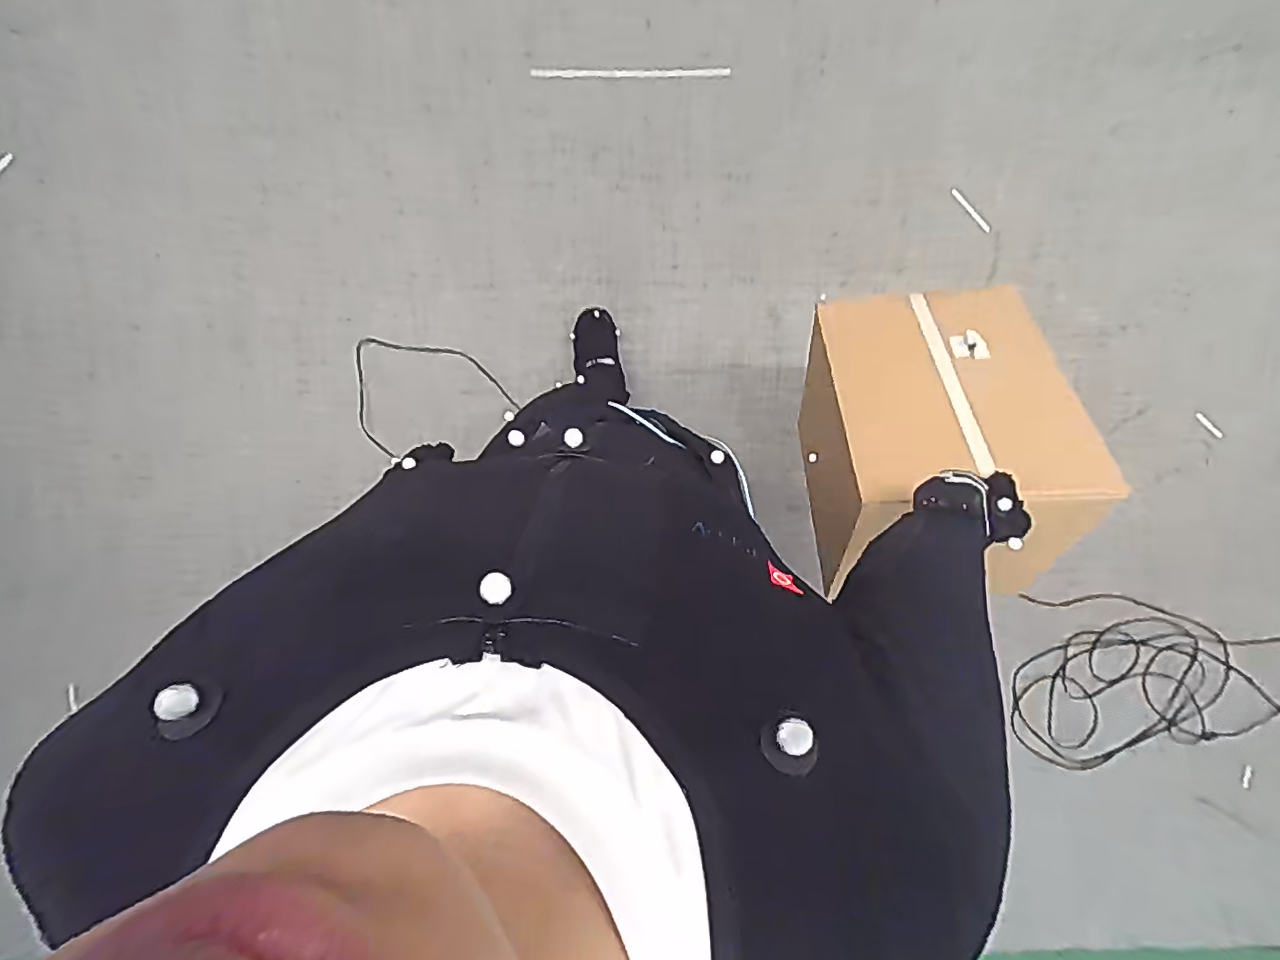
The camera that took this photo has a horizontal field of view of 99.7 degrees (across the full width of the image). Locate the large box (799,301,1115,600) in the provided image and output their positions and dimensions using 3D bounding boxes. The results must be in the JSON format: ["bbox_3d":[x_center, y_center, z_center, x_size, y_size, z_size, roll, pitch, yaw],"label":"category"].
[{"bbox_3d":[0.465,-0.044,0.920,0.320,0.408,0.320,-2,143,7],"label":"large box"}]
